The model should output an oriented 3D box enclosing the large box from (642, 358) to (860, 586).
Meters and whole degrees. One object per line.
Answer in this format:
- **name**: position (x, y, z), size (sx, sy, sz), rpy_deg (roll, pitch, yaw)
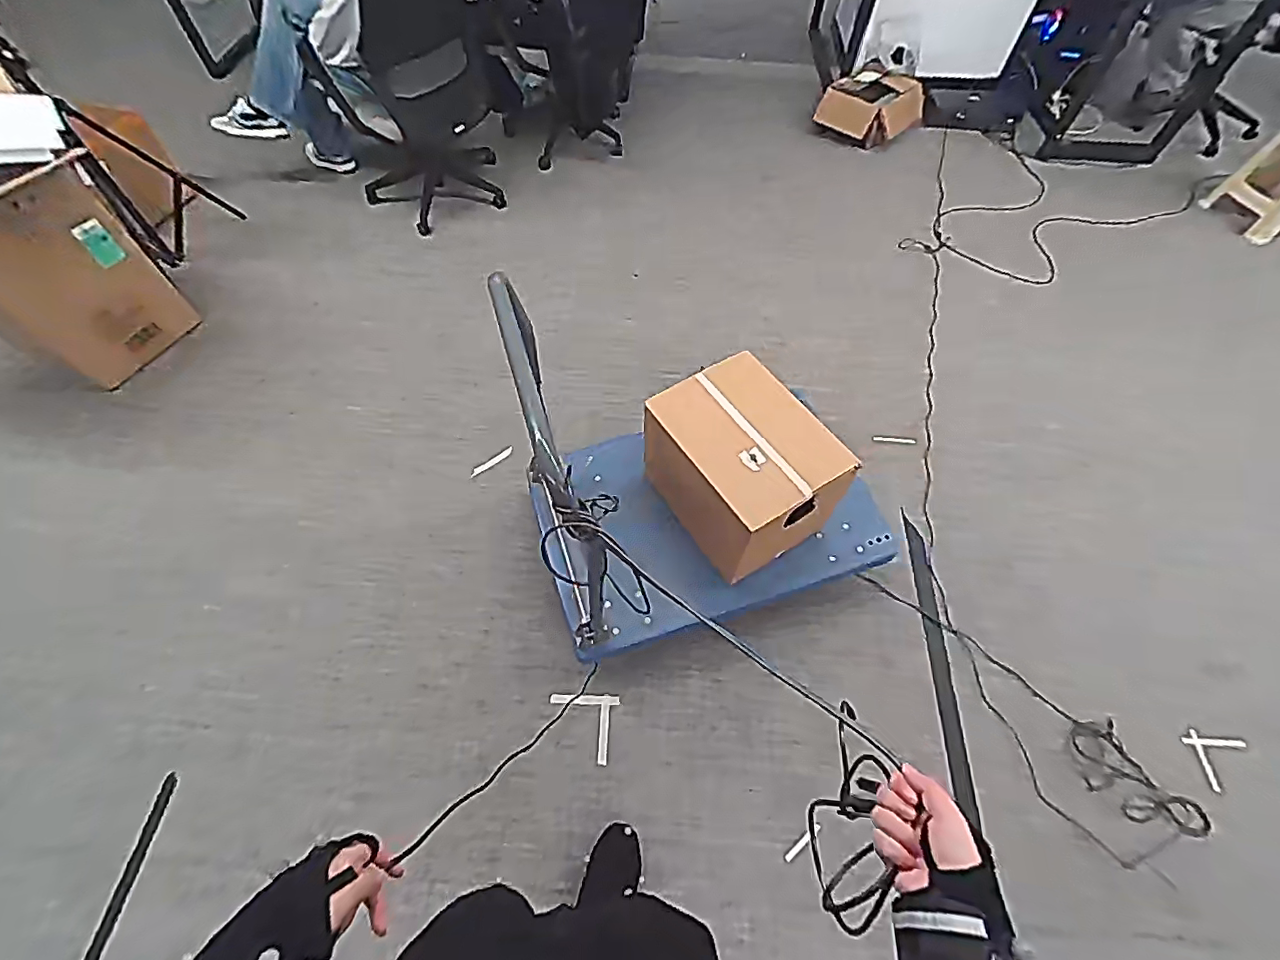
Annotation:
- **large box**: position (0.241, -0.020, 1.340), size (0.320, 0.320, 0.408), rpy_deg (-29, 64, -16)
